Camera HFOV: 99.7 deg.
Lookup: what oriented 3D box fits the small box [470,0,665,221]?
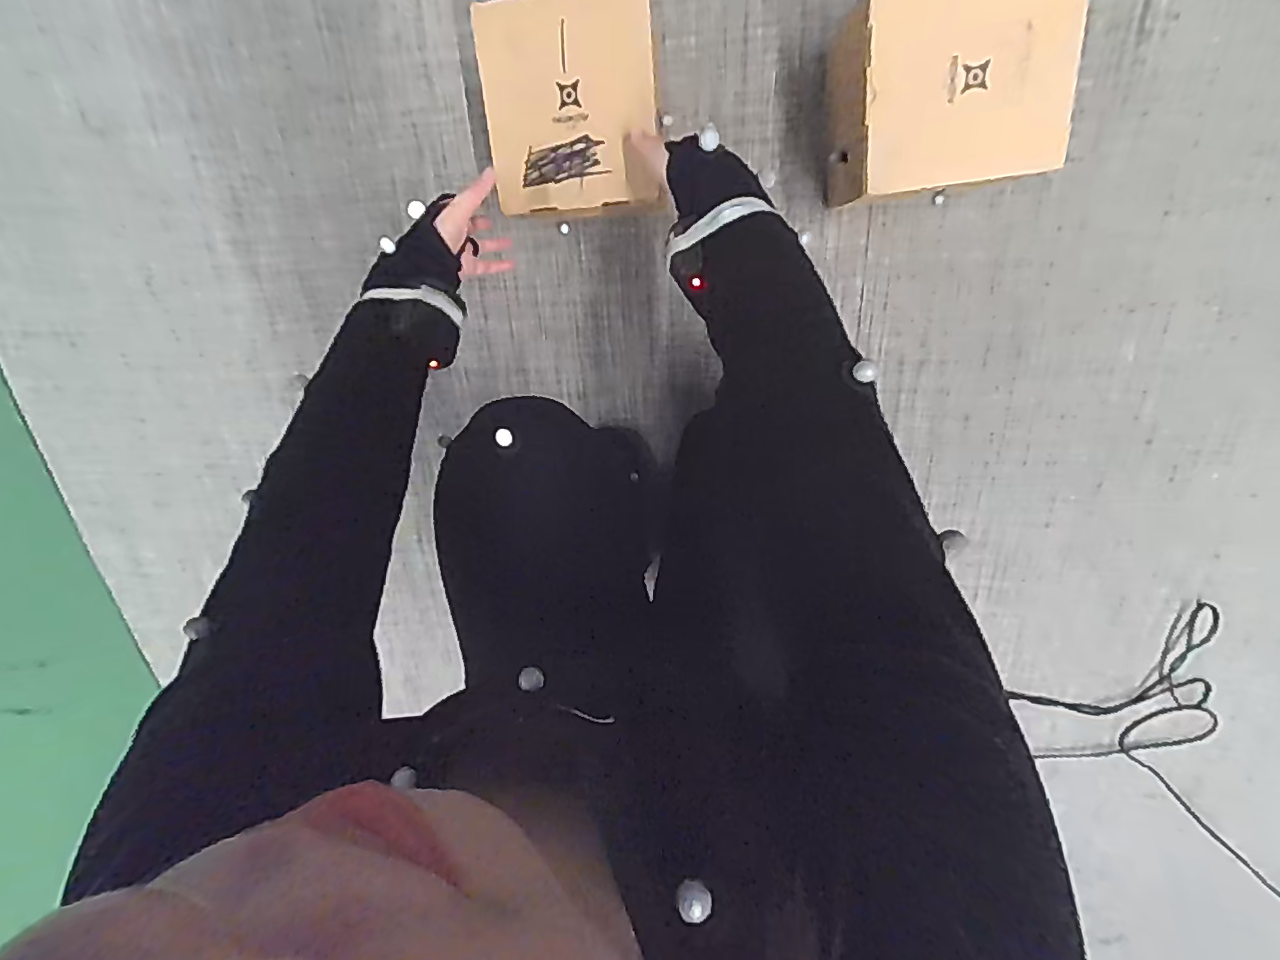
[{"bbox_3d":[-0.063,-0.386,0.592,0.168,0.176,0.179,-1,112,7],"label":"small box"}]

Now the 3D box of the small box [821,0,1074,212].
[{"bbox_3d":[0.289,-0.378,0.552,0.179,0.176,0.168,-3,113,8],"label":"small box"}]
